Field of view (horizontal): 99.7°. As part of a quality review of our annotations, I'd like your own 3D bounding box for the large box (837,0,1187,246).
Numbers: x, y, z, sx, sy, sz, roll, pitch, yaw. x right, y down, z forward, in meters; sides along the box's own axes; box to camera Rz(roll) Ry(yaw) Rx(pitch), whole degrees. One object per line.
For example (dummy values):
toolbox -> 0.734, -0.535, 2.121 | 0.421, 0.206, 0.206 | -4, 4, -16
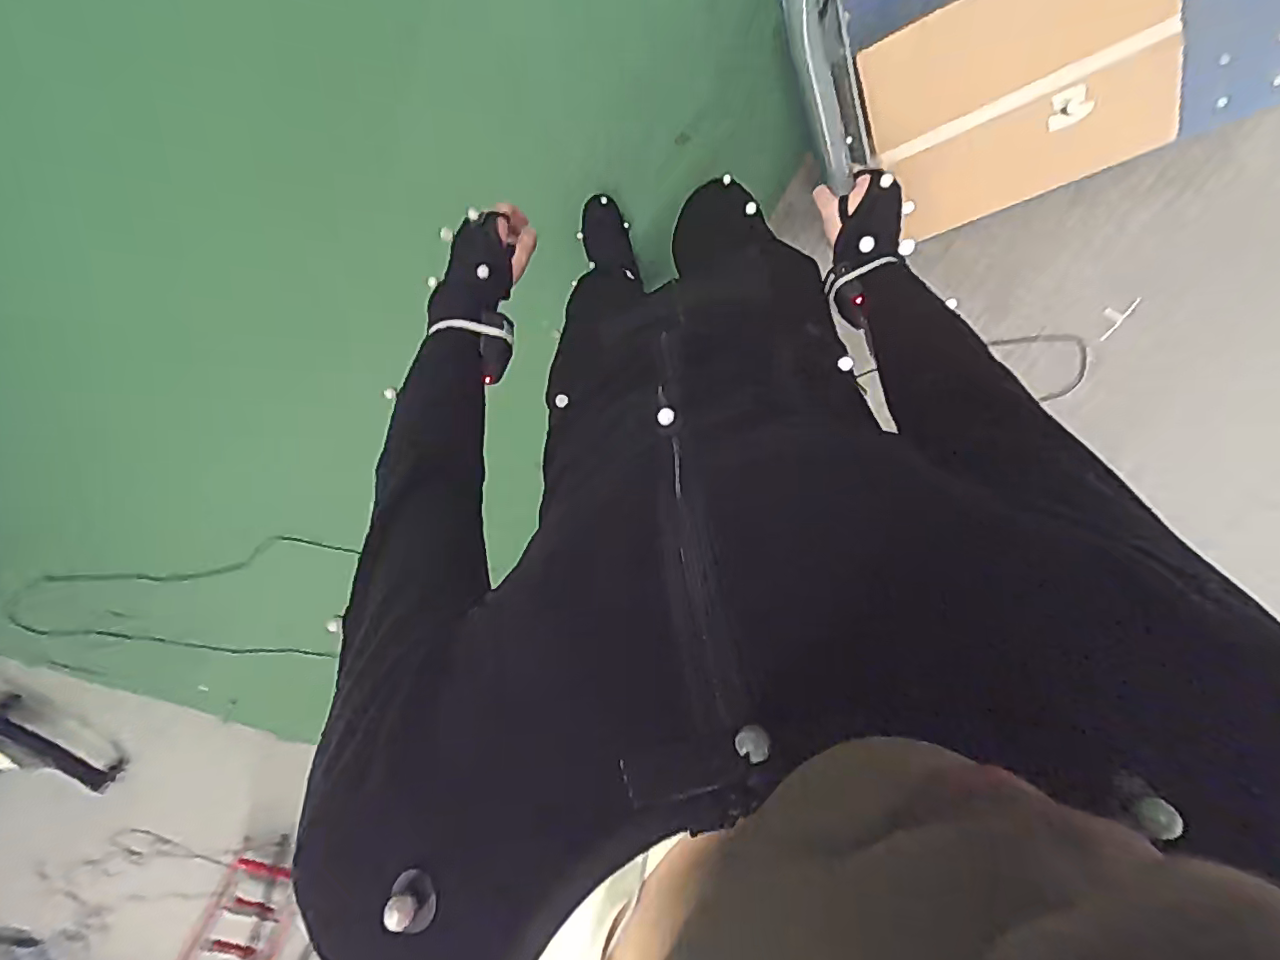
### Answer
large box -> 0.603, -0.669, 0.942 | 0.408, 0.320, 0.320 | -17, 120, 21
